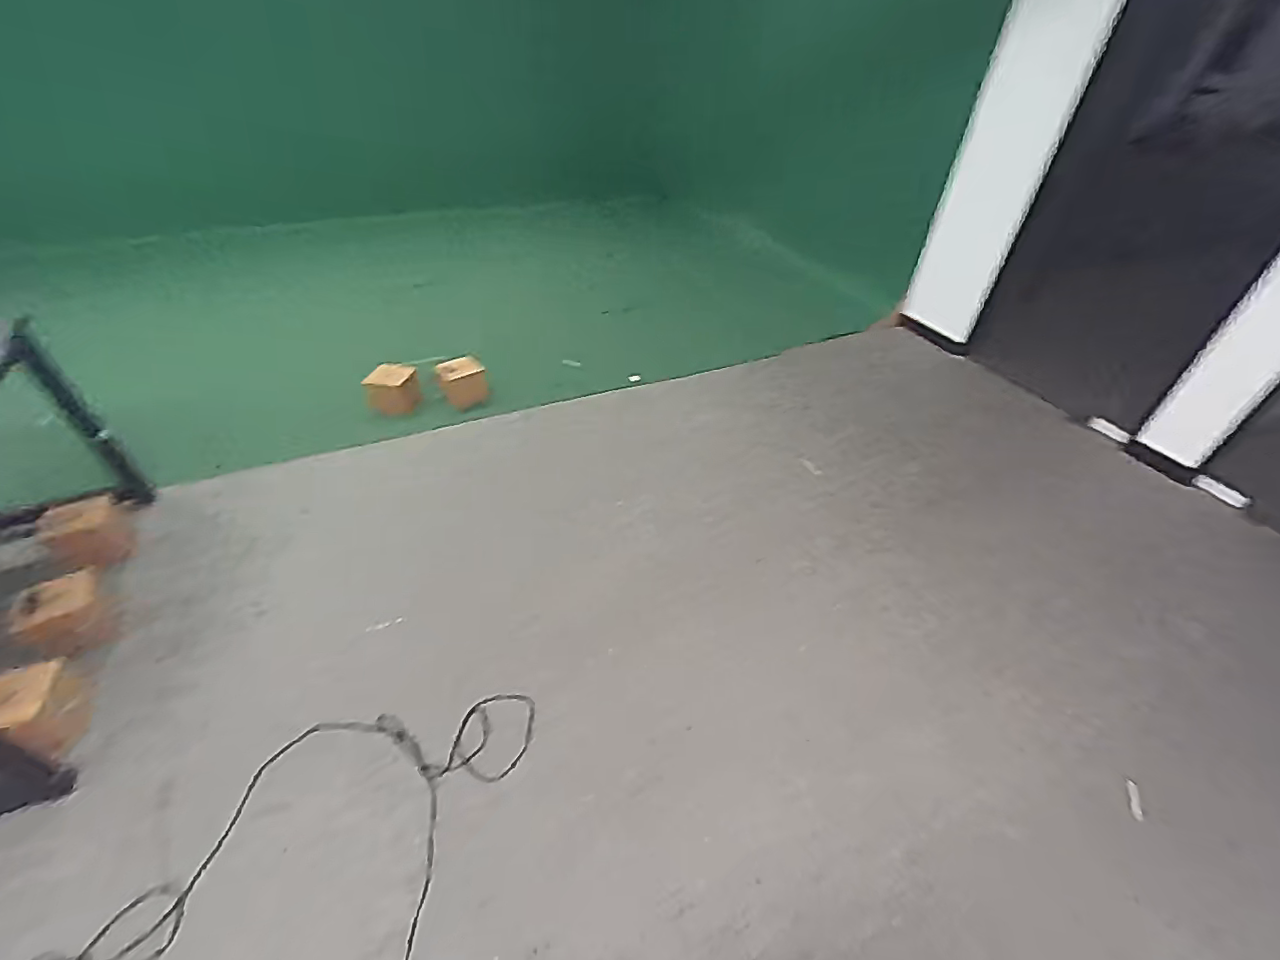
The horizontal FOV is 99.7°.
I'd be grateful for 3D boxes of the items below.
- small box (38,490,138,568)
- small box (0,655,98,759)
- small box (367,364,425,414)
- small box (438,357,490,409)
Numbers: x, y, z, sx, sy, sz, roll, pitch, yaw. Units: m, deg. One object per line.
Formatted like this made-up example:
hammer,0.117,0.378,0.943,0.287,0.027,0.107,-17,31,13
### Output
small box,-1.870,0.168,1.844,0.179,0.176,0.168,-19,46,-23
small box,-1.576,0.588,1.398,0.179,0.176,0.168,-12,44,-16
small box,-1.145,-0.428,2.556,0.179,0.176,0.168,8,41,7
small box,-0.846,-0.468,2.618,0.179,0.176,0.168,-27,50,-31
